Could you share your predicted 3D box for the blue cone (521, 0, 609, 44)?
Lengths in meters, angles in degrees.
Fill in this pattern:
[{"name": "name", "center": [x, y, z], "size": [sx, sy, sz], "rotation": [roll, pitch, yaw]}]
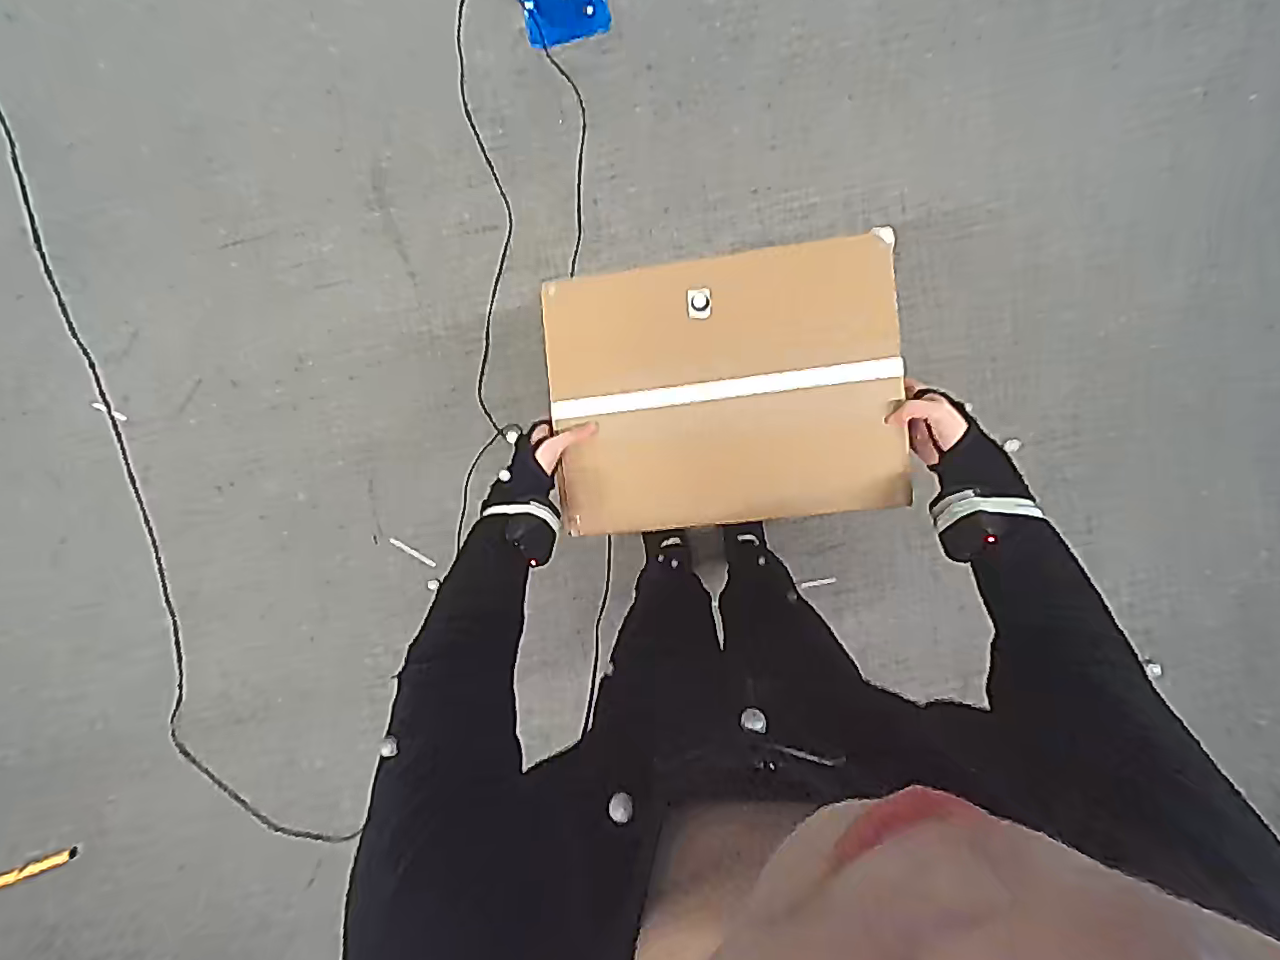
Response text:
[{"name": "blue cone", "center": [-0.182, -1.116, 1.095], "size": [0.193, 0.380, 0.192], "rotation": [-15, 97, 2]}]
